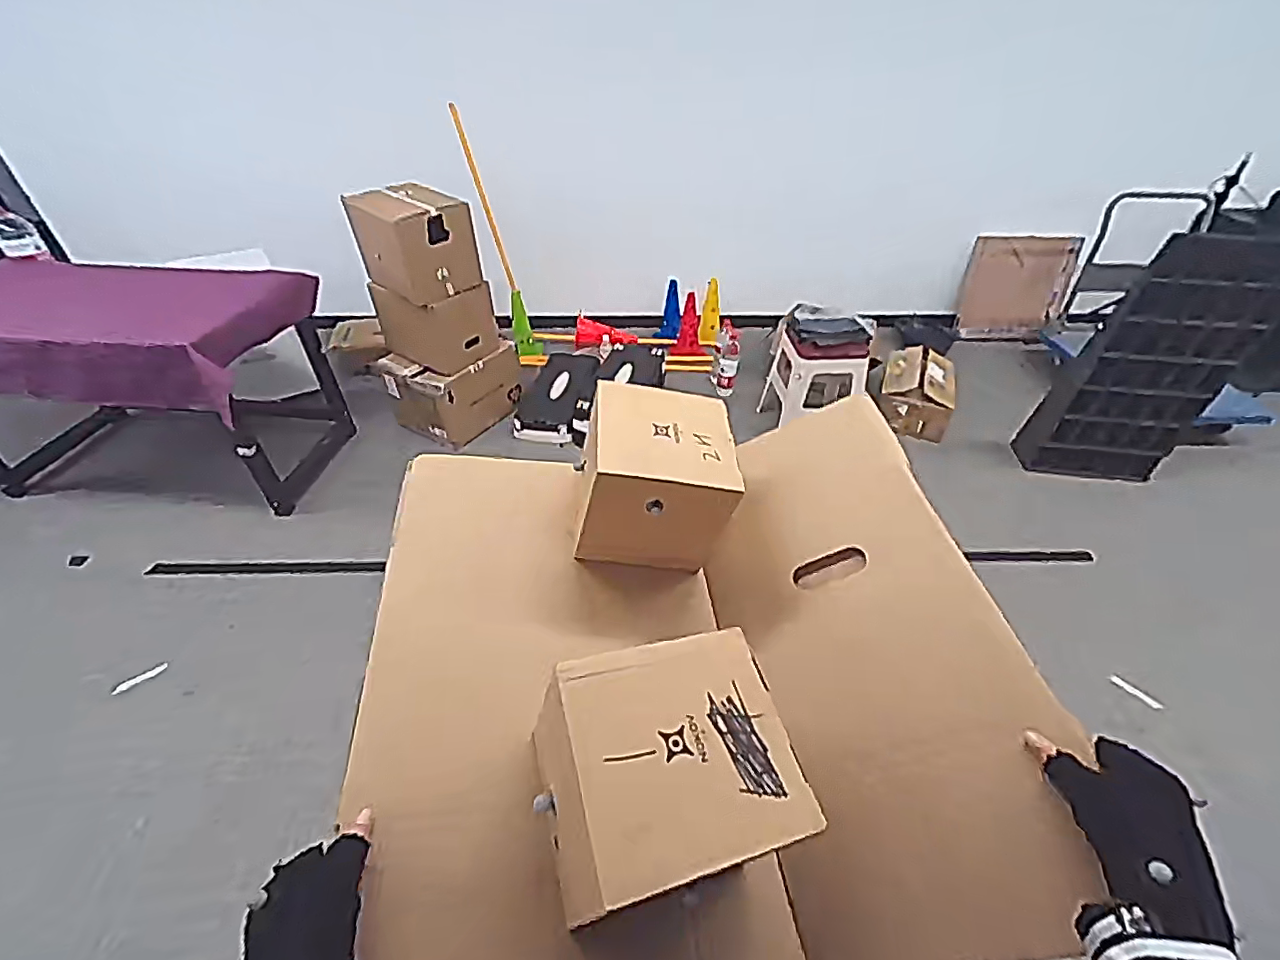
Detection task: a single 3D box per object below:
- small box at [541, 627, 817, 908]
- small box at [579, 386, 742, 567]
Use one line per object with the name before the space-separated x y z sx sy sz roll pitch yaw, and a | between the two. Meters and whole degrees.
small box | 0.017 0.255 0.487 0.179 0.176 0.168 -4 50 -21
small box | 0.017 0.001 0.727 0.179 0.176 0.168 9 46 -11
